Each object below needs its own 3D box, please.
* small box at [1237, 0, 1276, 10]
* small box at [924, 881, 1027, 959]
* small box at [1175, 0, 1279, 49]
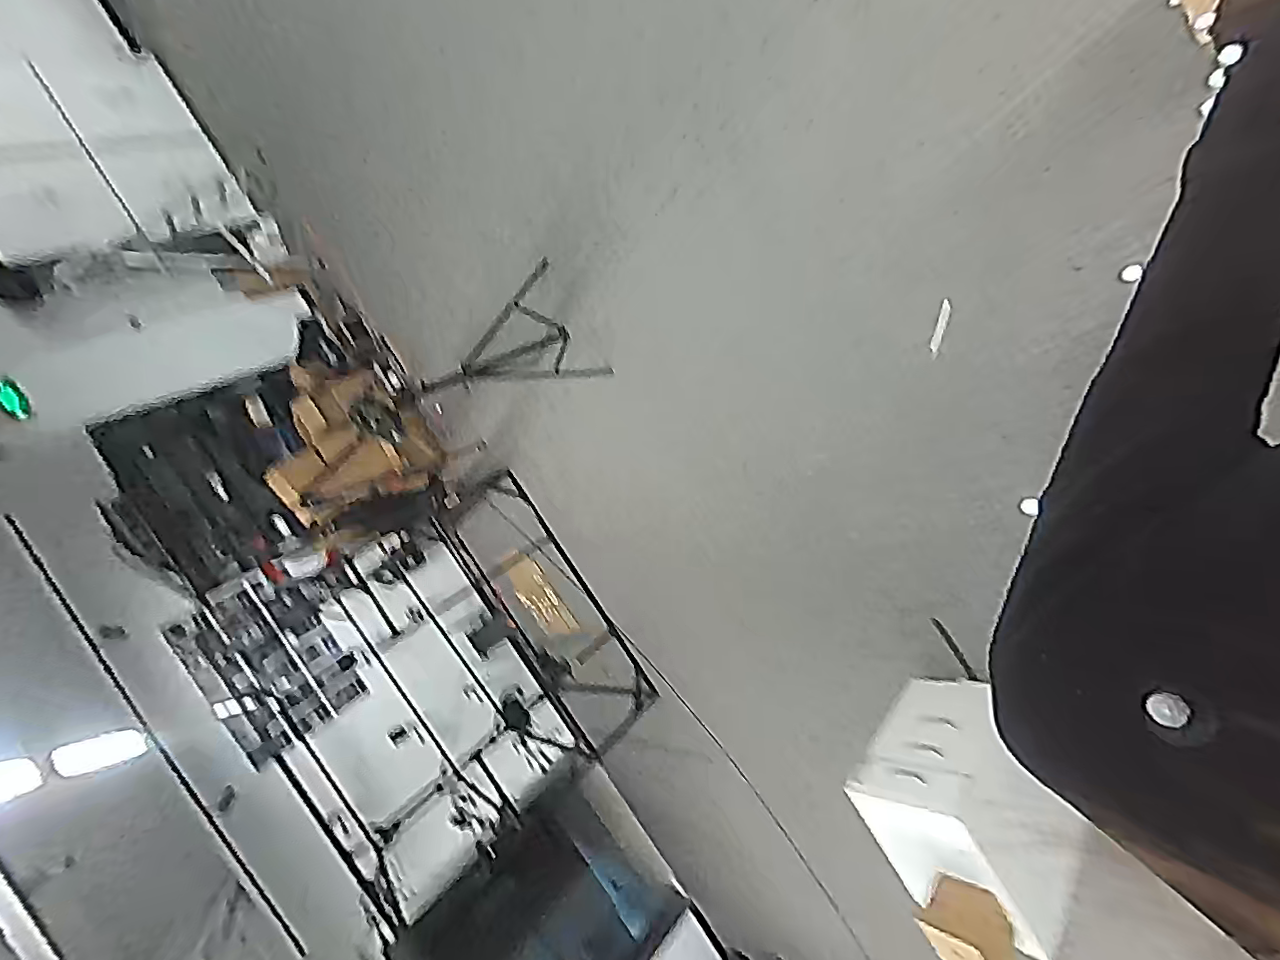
[{"bbox_3d":[0.552,-0.509,0.410,0.168,0.176,0.179,-14,115,48],"label":"small box"},{"bbox_3d":[0.969,1.313,1.560,0.168,0.176,0.179,57,146,-3],"label":"small box"},{"bbox_3d":[0.865,-0.748,0.747,0.179,0.176,0.168,-23,99,57],"label":"small box"}]
